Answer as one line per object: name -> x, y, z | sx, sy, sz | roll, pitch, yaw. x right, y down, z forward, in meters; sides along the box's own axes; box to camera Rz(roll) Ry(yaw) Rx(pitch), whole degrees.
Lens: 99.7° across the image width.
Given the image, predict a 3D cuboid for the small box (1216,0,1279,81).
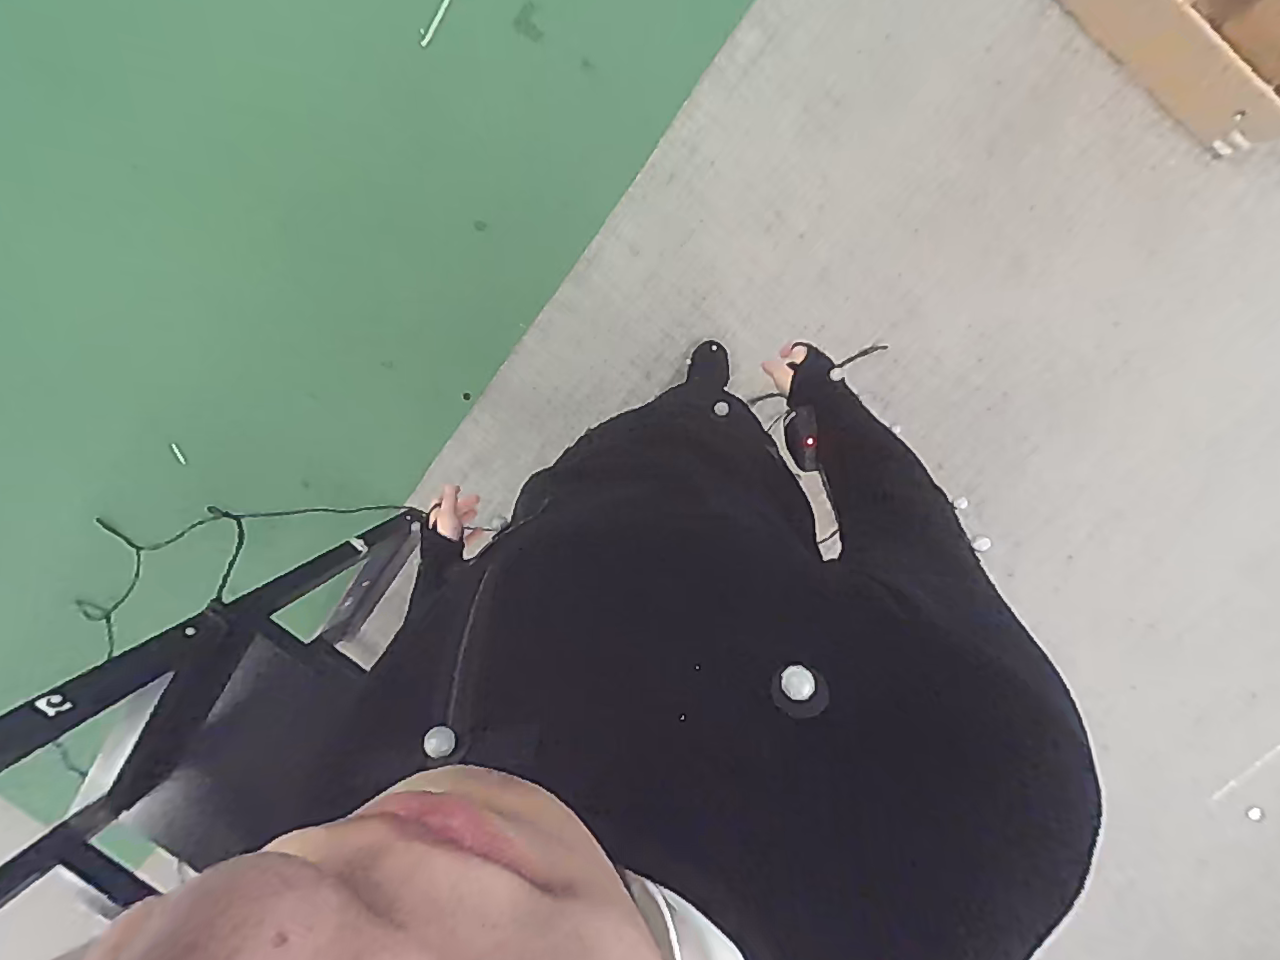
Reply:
small box -> 1.400, -0.985, 1.129 | 0.179, 0.176, 0.168 | 44, 103, -4
